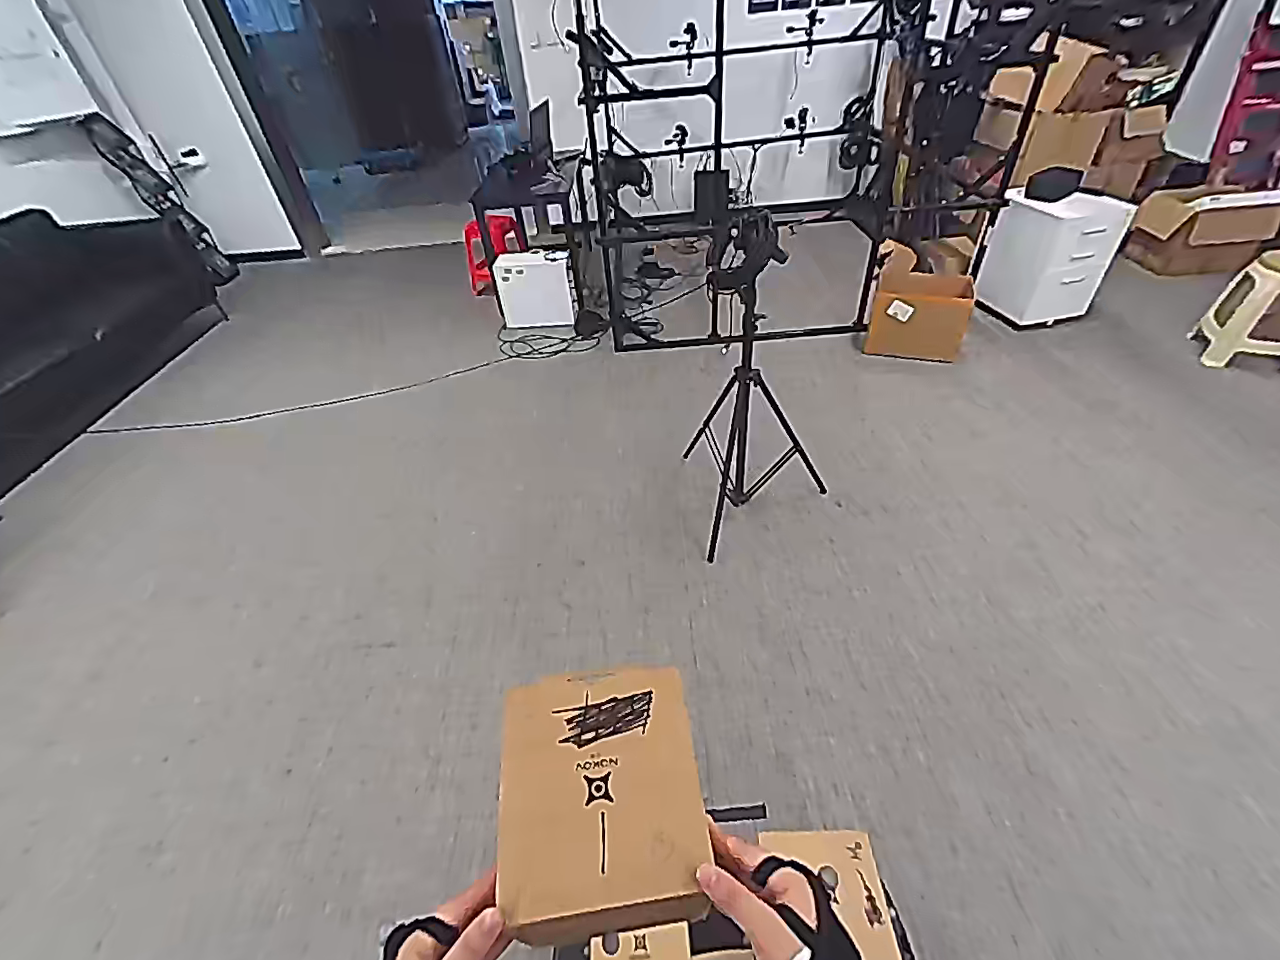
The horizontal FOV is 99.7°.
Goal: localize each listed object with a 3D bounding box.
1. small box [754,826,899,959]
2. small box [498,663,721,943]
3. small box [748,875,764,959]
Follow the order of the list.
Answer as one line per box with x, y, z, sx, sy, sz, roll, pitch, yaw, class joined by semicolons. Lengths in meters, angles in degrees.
0.275;0.664;0.846;0.179;0.176;0.168;-3;41;4;small box
-0.031;0.299;0.503;0.168;0.176;0.179;-7;46;-5;small box
0.286;0.800;0.937;0.179;0.176;0.168;-5;40;1;small box
